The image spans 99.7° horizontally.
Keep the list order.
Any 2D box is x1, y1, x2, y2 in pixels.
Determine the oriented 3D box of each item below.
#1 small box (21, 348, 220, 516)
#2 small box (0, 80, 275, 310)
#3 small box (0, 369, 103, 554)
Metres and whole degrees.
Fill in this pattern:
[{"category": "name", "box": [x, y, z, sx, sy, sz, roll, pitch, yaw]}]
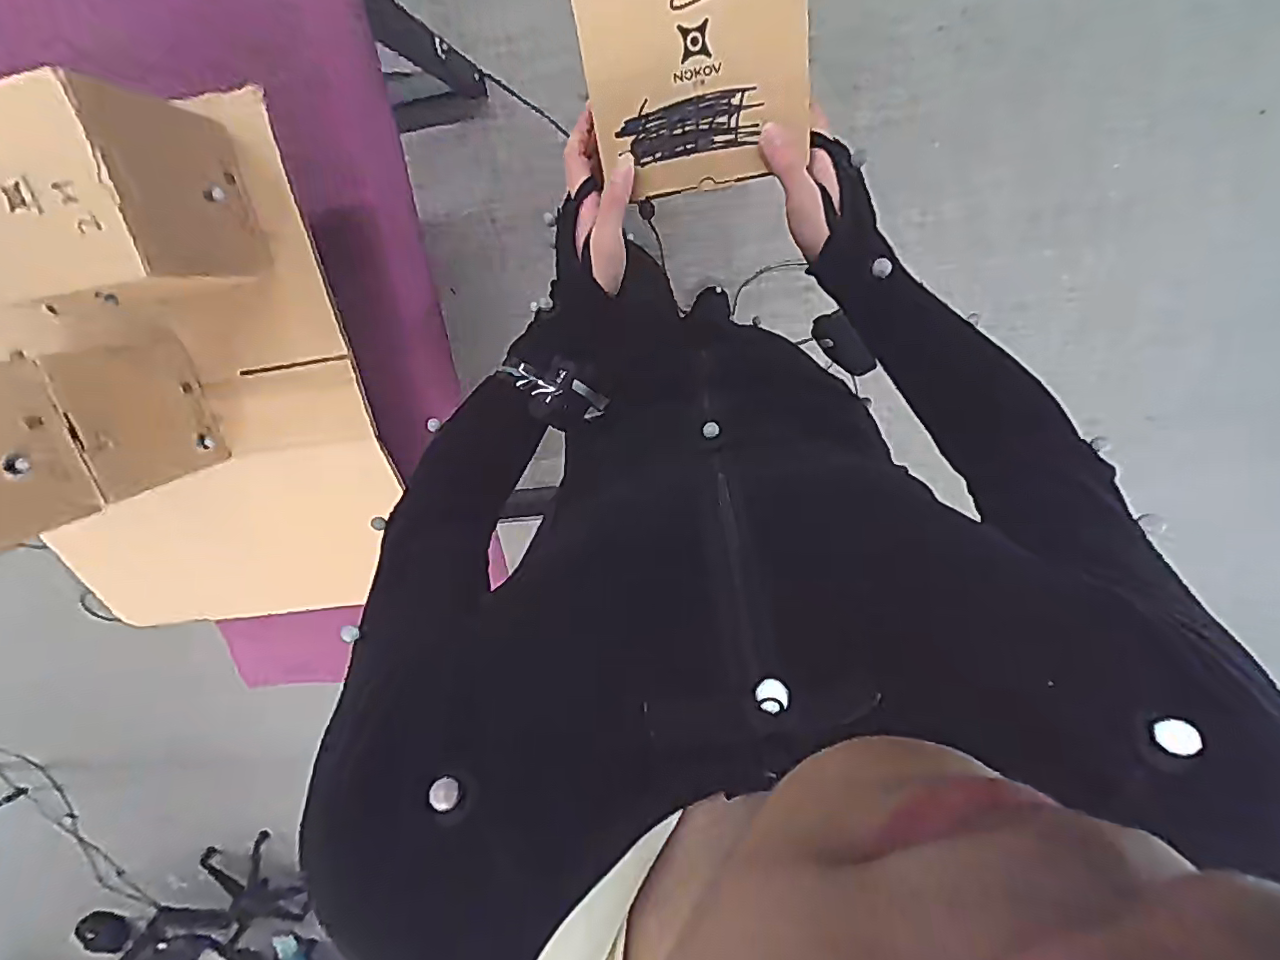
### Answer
[{"category": "small box", "box": [-0.658, -0.057, 0.650, 0.179, 0.176, 0.168, -7, 108, 9]}, {"category": "small box", "box": [-0.535, -0.274, 0.559, 0.179, 0.176, 0.168, -7, 110, 8]}, {"category": "small box", "box": [-0.680, 0.000, 0.499, 0.179, 0.176, 0.168, -9, 108, 8]}]
